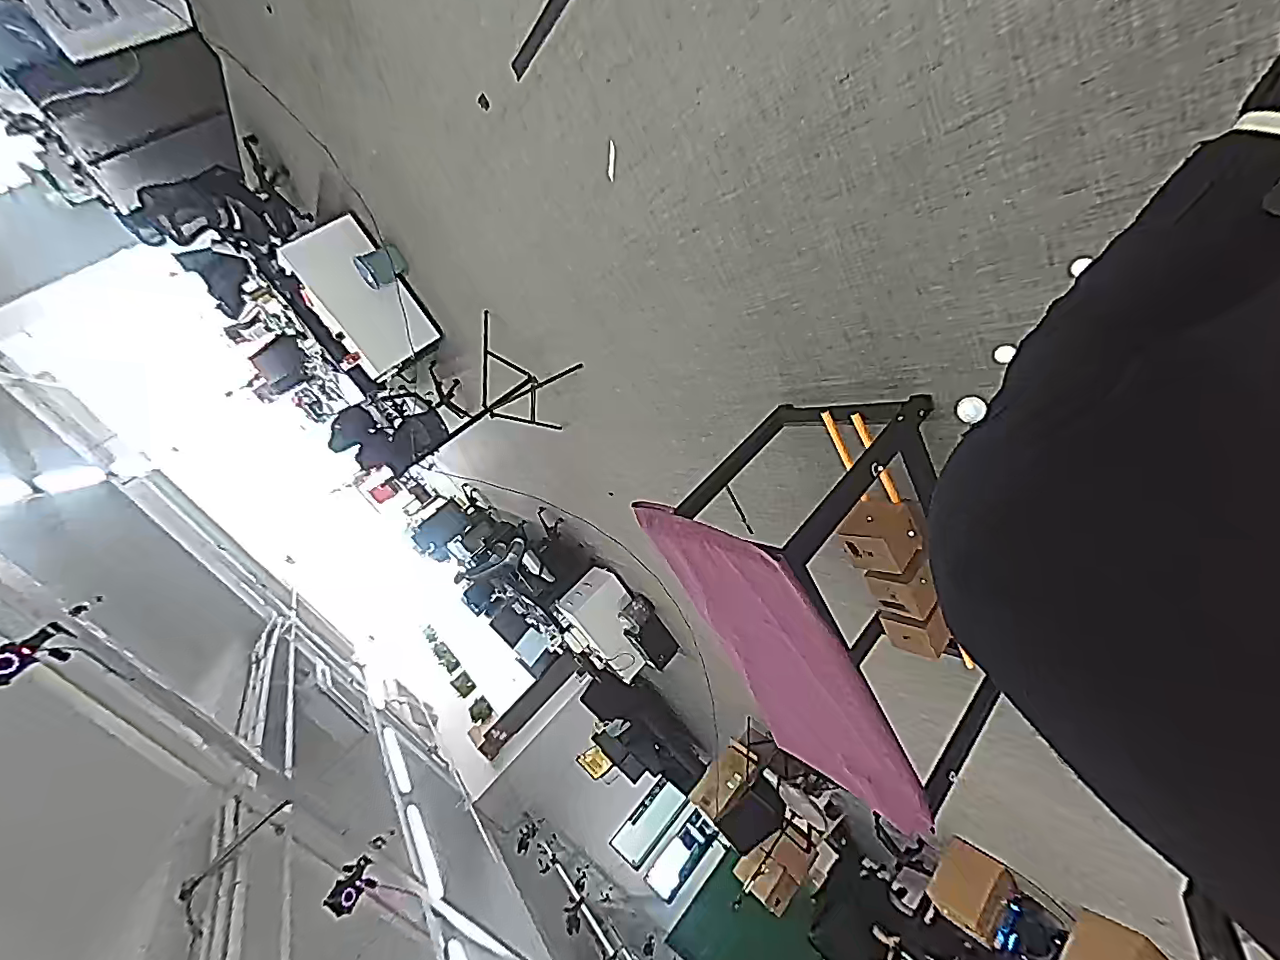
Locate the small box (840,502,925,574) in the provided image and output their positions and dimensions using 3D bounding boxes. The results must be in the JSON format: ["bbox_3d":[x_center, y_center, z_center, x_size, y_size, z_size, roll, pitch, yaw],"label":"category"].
[{"bbox_3d":[0.810,0.187,1.805,0.179,0.176,0.168,1,131,56],"label":"small box"}]

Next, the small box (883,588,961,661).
[{"bbox_3d":[1.026,0.517,1.966,0.179,0.176,0.168,3,132,55],"label":"small box"}]
